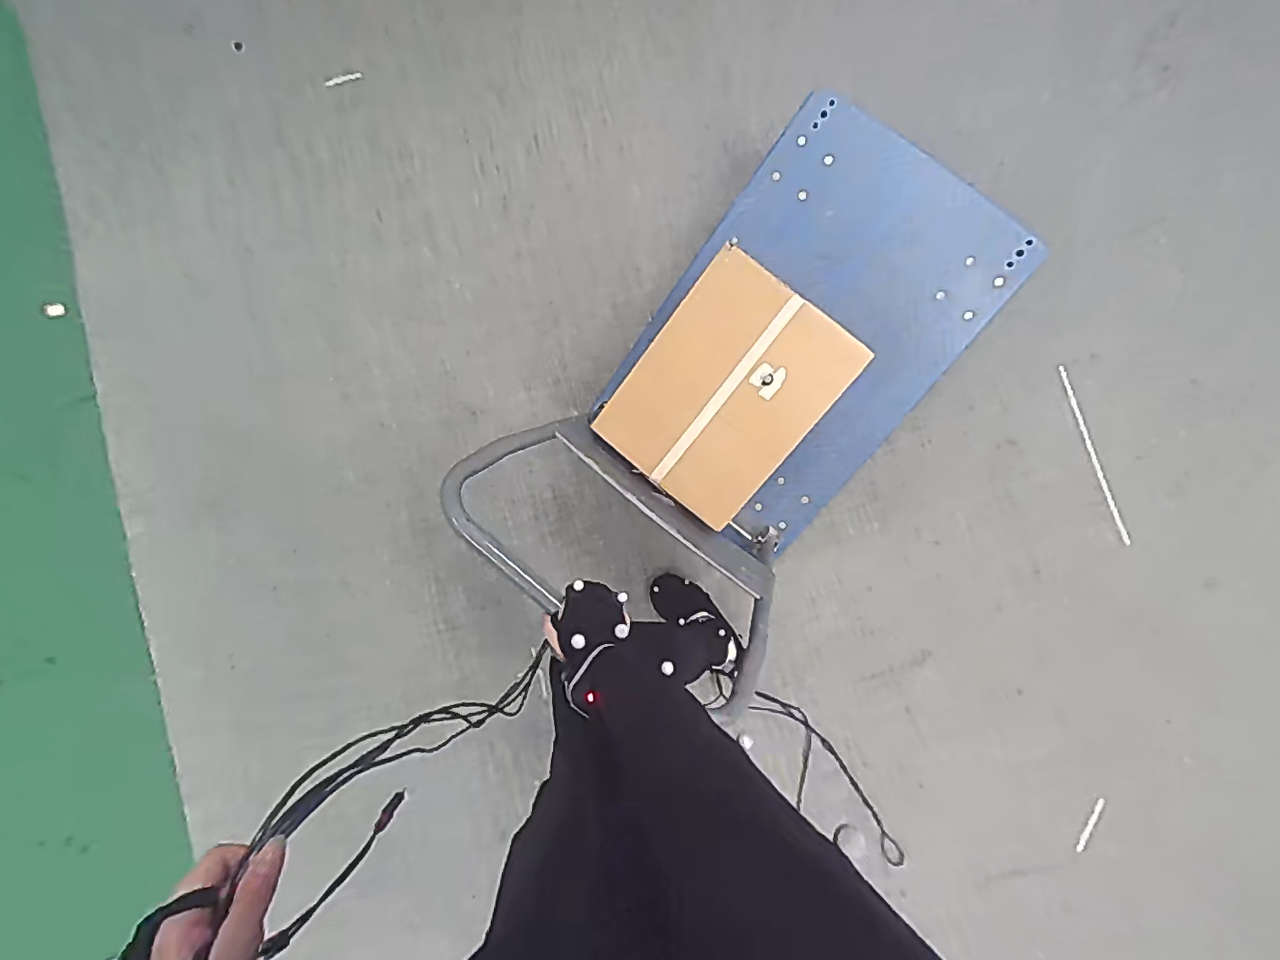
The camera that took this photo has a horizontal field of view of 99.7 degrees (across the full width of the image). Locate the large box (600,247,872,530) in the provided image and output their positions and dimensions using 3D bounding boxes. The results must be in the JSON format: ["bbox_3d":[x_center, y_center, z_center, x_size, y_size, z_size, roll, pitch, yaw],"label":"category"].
[{"bbox_3d":[0.188,-0.171,1.096,0.320,0.320,0.408,40,105,5],"label":"large box"}]
